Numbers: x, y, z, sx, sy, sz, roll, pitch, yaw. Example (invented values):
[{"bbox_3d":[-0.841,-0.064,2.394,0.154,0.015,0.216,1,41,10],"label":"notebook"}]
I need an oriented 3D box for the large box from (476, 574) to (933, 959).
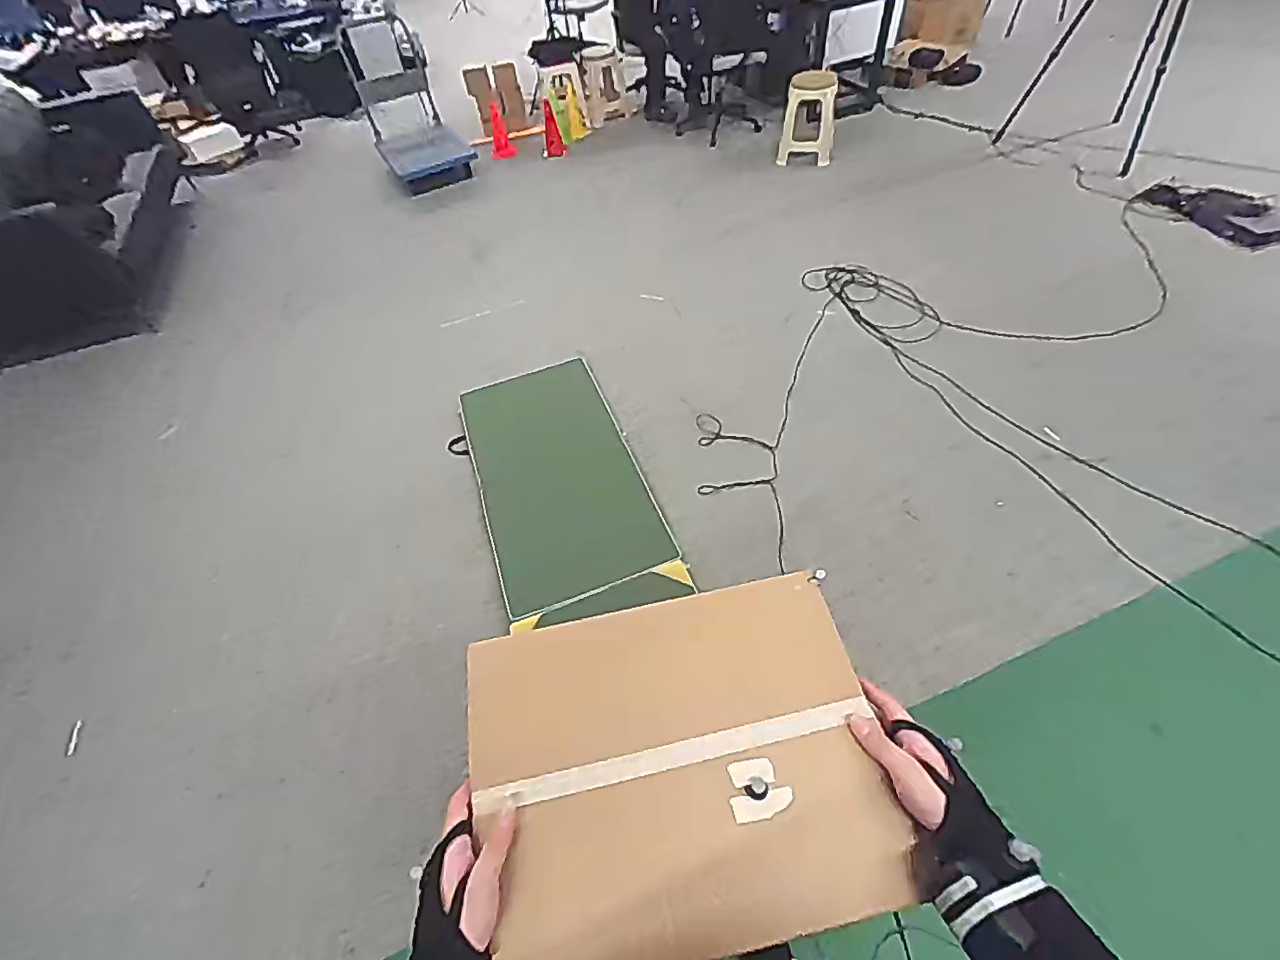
[{"bbox_3d":[0.044,0.359,0.668,0.408,0.320,0.320,-11,56,-5],"label":"large box"}]
